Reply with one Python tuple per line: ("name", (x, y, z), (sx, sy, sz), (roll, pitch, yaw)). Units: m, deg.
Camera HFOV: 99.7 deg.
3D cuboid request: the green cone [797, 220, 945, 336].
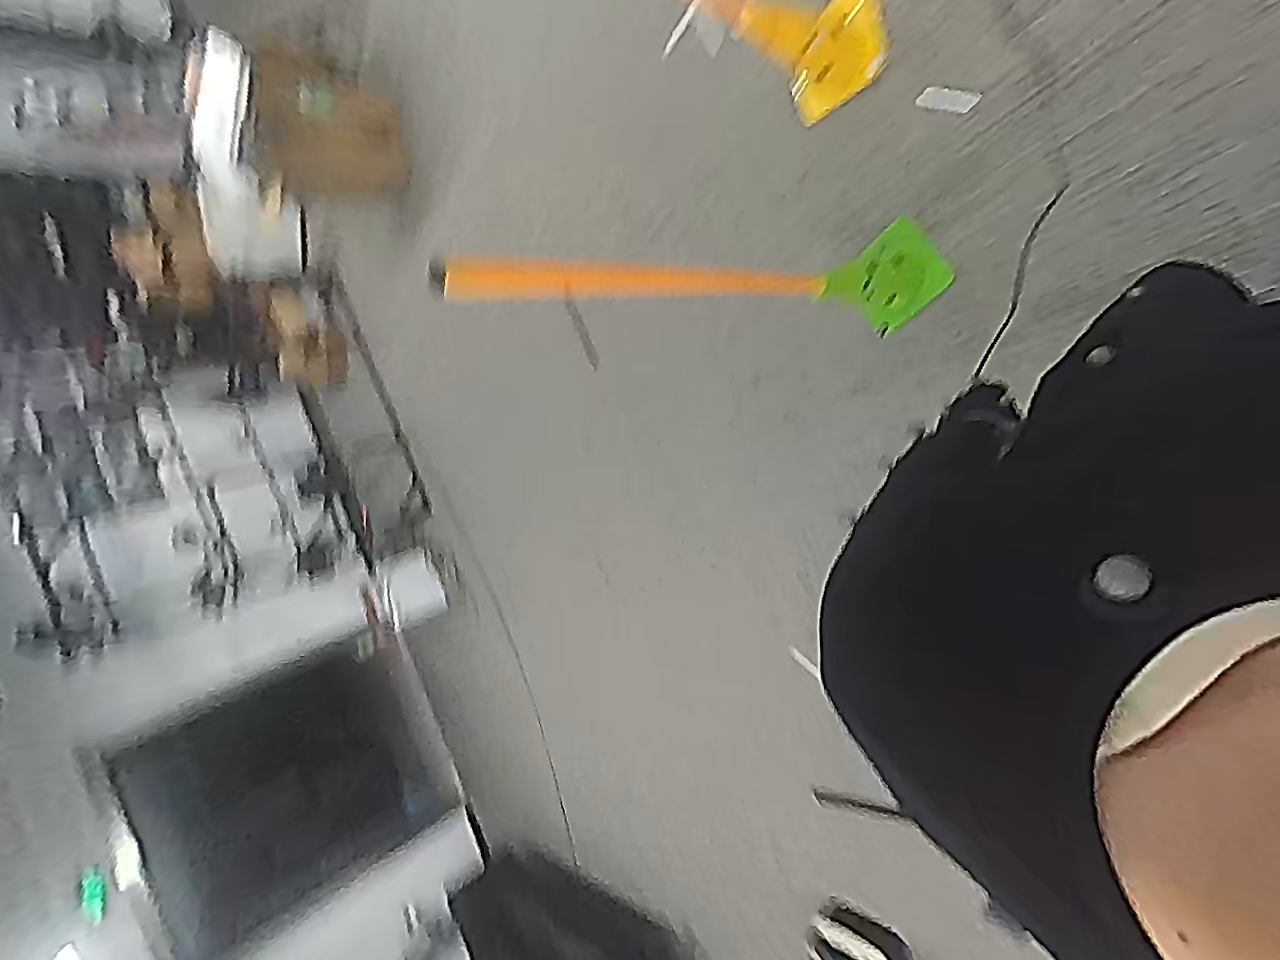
("green cone", (0.460, -0.429, 1.170), (0.202, 0.368, 0.200), (59, 140, 14))
